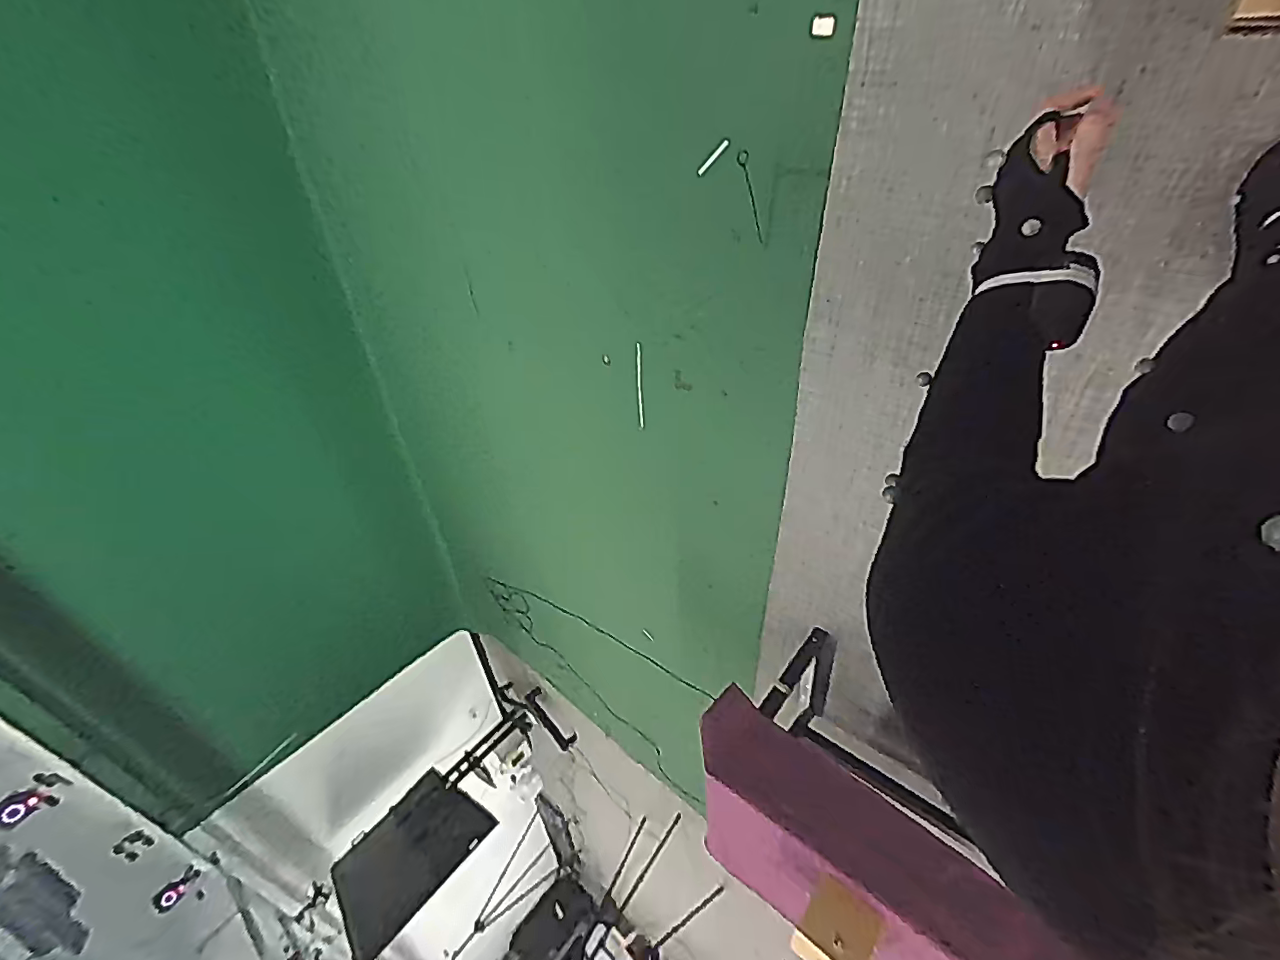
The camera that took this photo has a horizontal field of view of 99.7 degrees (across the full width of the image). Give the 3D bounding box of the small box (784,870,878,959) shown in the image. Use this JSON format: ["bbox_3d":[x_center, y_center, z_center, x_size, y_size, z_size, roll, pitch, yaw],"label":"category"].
[{"bbox_3d":[0.514,1.207,1.453,0.179,0.176,0.168,26,135,34],"label":"small box"}]
